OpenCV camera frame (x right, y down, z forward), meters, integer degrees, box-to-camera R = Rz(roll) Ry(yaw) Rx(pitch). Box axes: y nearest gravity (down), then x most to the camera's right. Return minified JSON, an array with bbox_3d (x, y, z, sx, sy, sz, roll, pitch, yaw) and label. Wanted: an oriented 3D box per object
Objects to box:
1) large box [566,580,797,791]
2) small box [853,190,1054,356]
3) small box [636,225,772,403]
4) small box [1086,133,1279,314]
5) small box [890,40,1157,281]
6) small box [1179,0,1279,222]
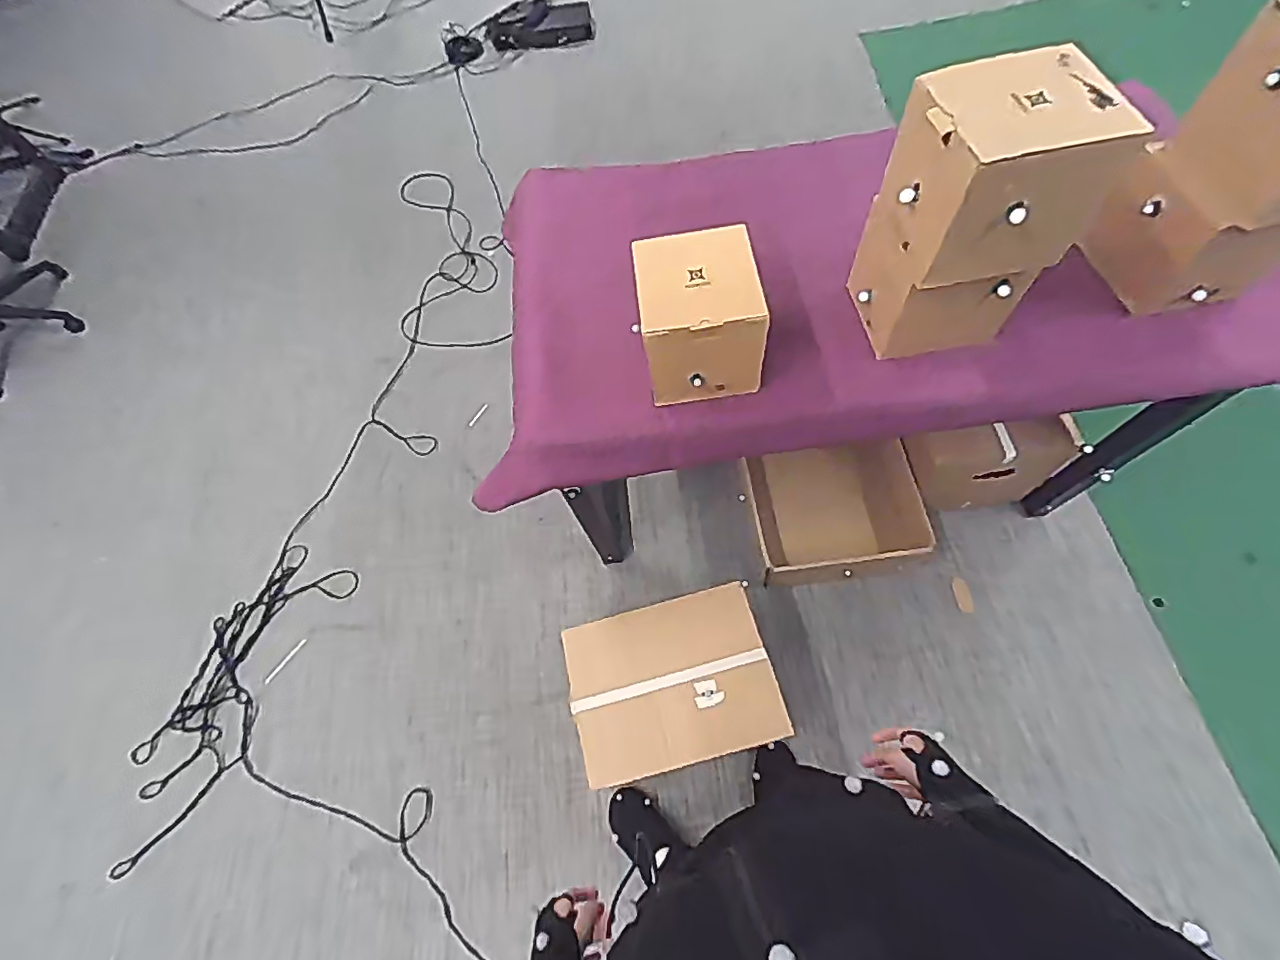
[{"bbox_3d":[0.085,0.463,1.208,0.408,0.320,0.320,-15,64,-1],"label":"large box"},{"bbox_3d":[0.434,-0.304,0.783,0.179,0.176,0.168,-9,63,4],"label":"small box"},{"bbox_3d":[0.089,-0.239,0.800,0.168,0.176,0.179,-8,64,3],"label":"small box"},{"bbox_3d":[0.795,-0.368,0.765,0.168,0.176,0.179,-11,63,4],"label":"small box"},{"bbox_3d":[0.412,-0.358,0.629,0.179,0.176,0.168,-10,63,3],"label":"small box"},{"bbox_3d":[0.792,-0.431,0.612,0.168,0.176,0.179,-11,63,4],"label":"small box"}]
